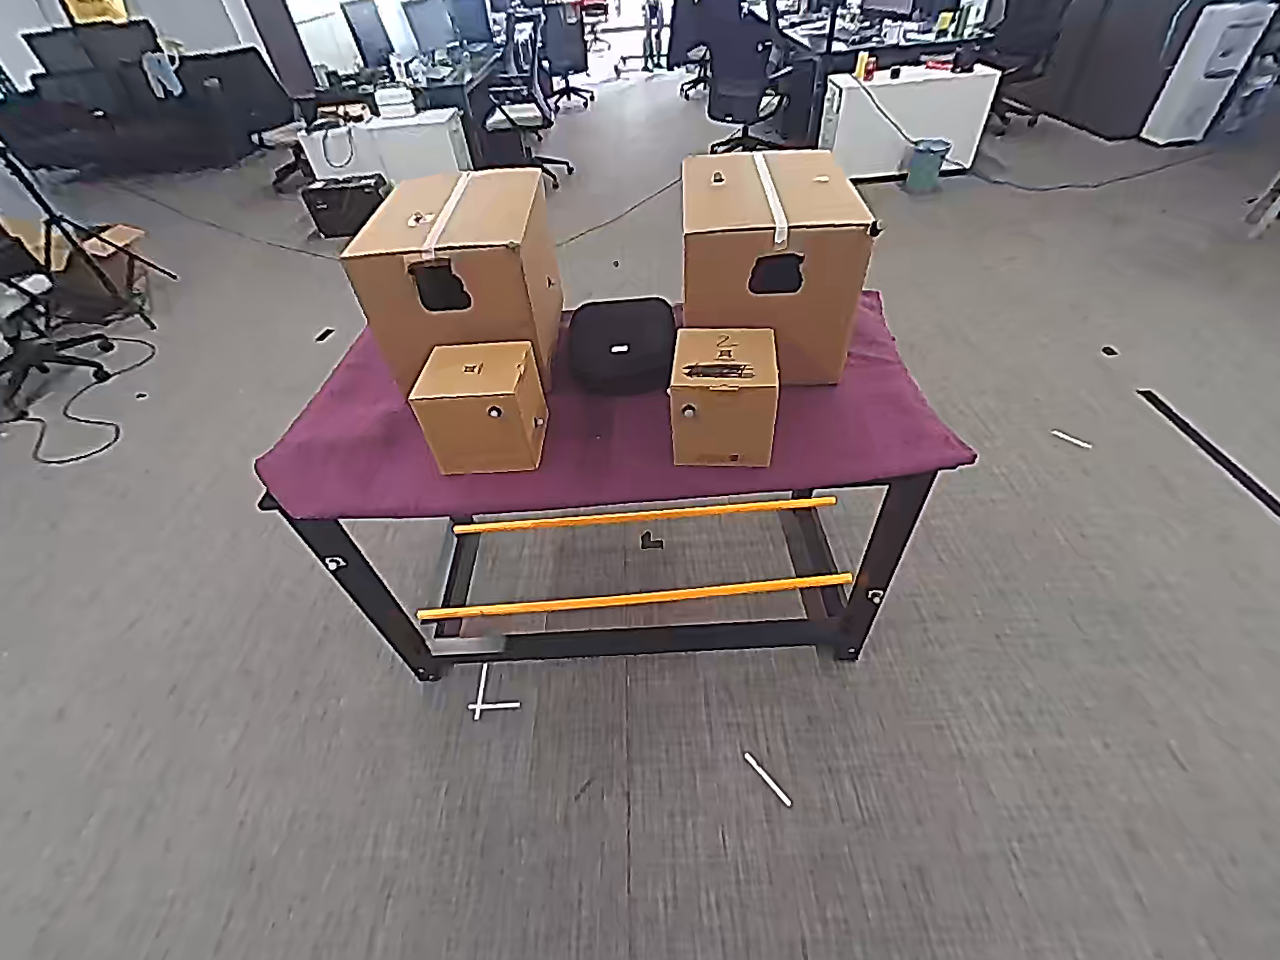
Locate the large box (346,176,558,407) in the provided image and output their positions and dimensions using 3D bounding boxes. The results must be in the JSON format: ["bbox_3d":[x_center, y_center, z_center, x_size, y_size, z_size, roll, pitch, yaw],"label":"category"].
[{"bbox_3d":[-0.355,-0.409,1.159,0.320,0.320,0.408,-5,47,1],"label":"large box"}]
